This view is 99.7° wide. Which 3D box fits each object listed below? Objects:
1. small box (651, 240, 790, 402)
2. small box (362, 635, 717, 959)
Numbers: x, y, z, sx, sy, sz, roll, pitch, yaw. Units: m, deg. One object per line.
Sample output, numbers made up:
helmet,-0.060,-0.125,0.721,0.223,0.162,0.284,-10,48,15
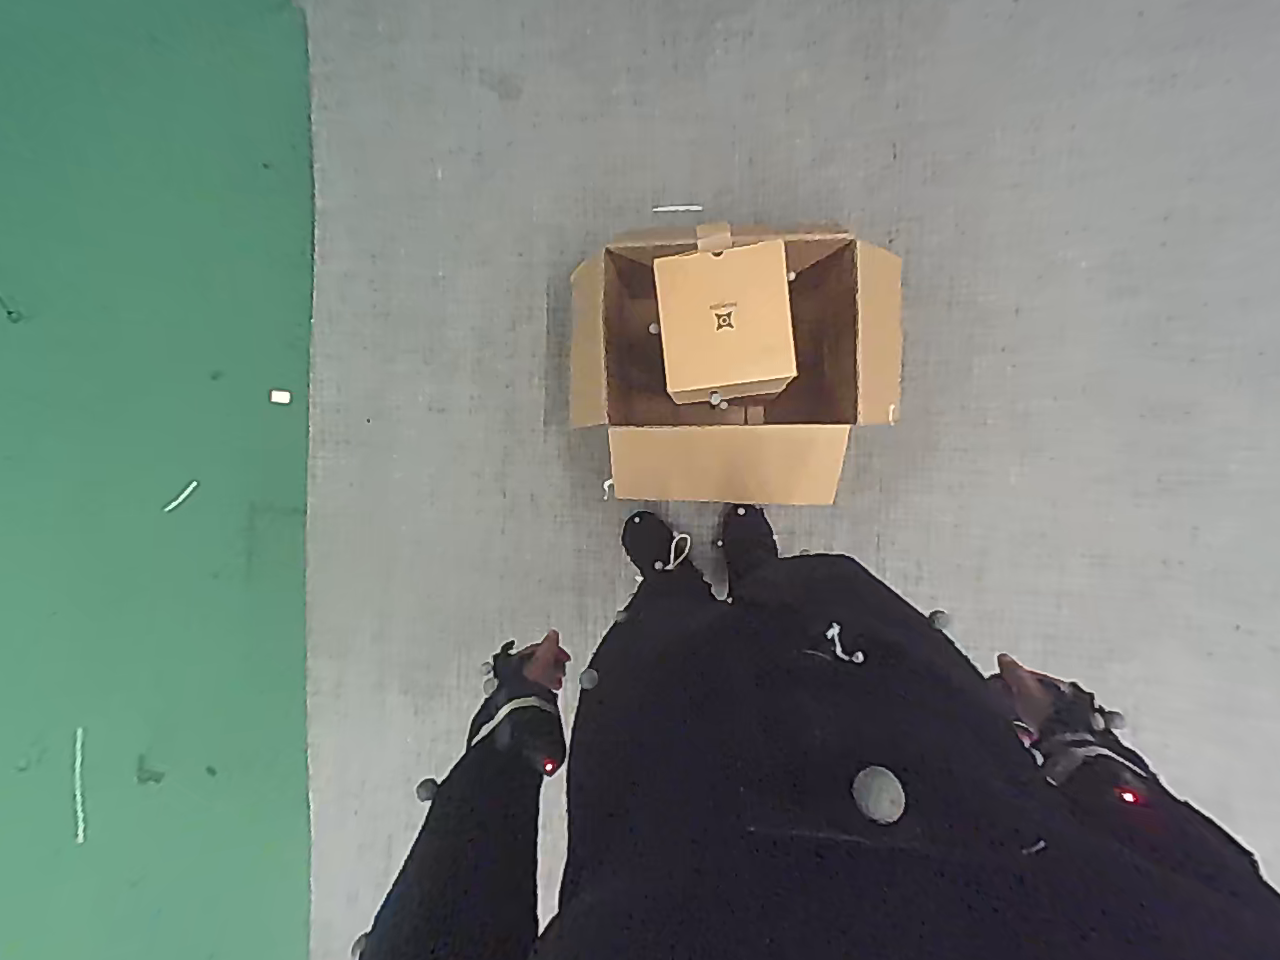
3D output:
small box,0.113,-0.209,0.764,0.168,0.176,0.179,-6,90,8
small box,-0.063,0.240,0.379,0.168,0.179,0.176,29,135,-15
